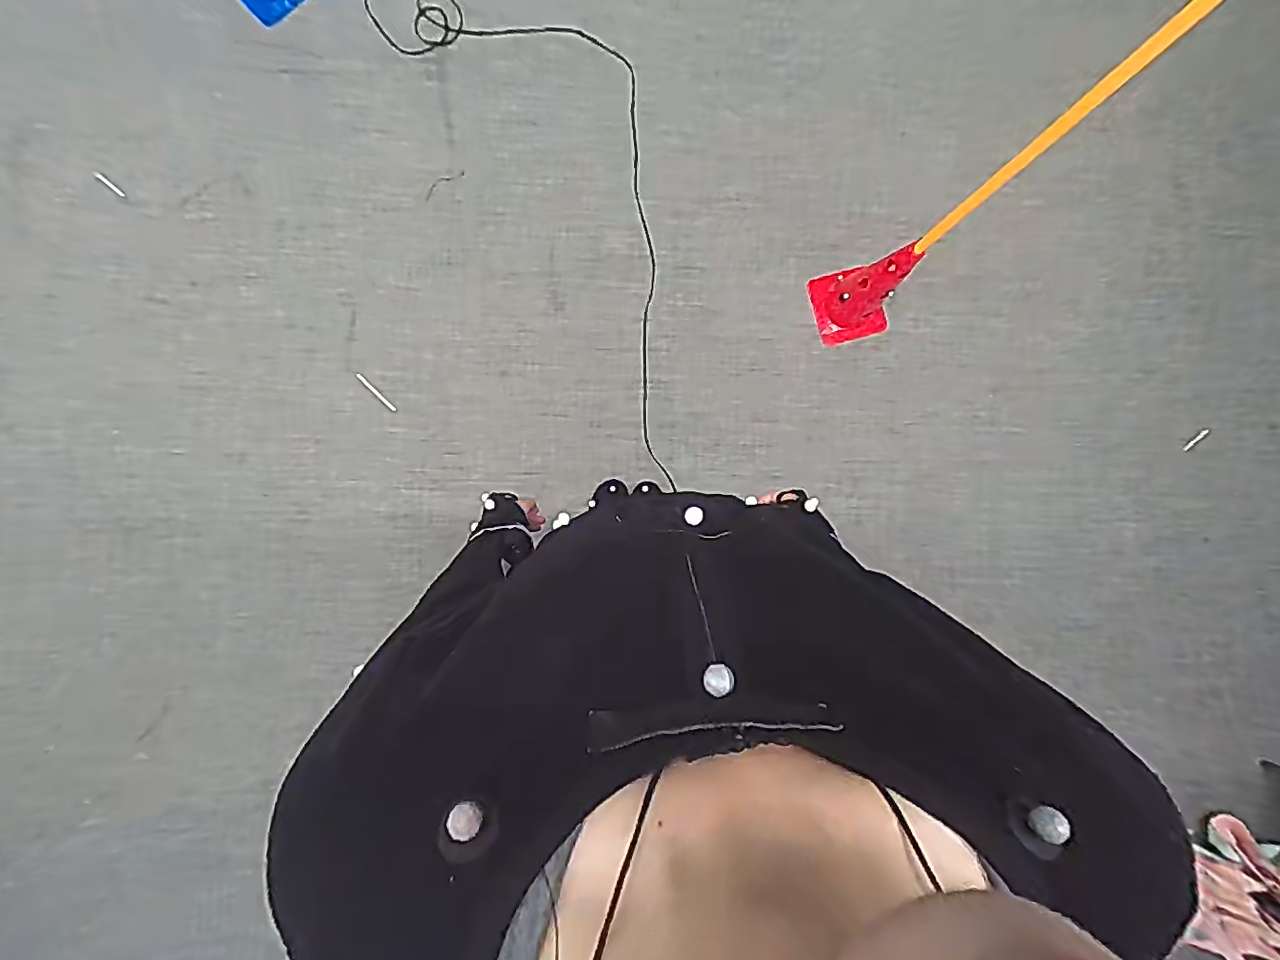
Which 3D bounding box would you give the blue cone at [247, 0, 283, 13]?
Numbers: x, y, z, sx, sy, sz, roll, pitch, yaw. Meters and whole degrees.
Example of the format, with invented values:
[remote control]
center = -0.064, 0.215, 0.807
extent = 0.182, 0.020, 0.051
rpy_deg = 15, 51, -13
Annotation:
[blue cone]
center = -0.997, -1.360, 1.279
extent = 0.193, 0.380, 0.192
rpy_deg = -45, 93, -1
